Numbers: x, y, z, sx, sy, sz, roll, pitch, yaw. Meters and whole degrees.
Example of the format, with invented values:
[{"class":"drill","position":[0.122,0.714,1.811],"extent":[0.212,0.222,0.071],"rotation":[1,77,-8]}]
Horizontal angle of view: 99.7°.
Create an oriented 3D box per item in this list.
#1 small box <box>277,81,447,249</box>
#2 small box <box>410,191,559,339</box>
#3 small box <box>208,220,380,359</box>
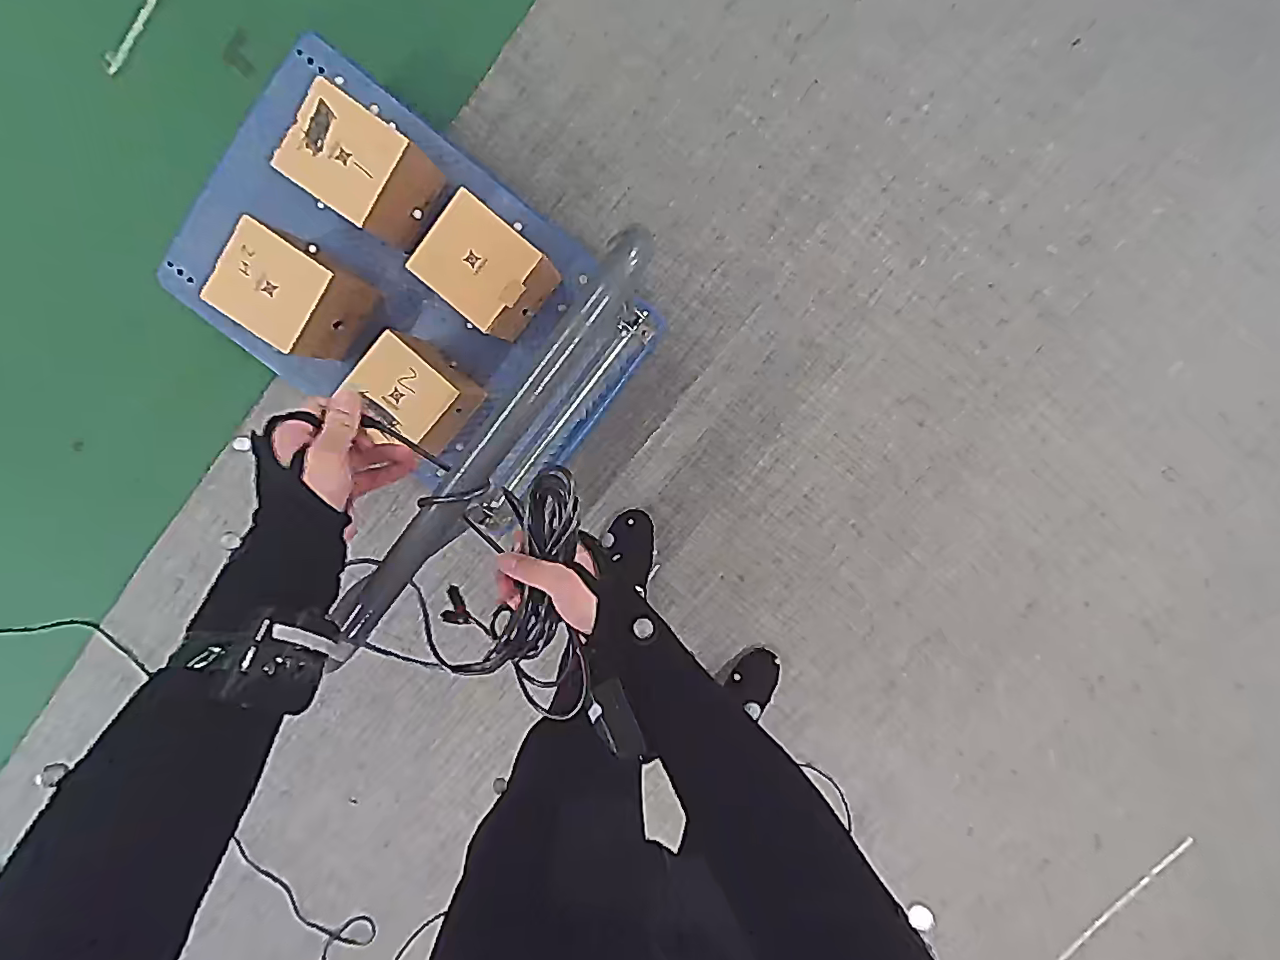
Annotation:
[{"class":"small box","position":[-0.483,-0.543,0.965],"extent":[0.179,0.176,0.168],"rotation":[34,99,-5]},{"class":"small box","position":[-0.271,-0.376,0.987],"extent":[0.179,0.176,0.168],"rotation":[39,98,-5]},{"class":"small box","position":[-0.625,-0.338,1.001],"extent":[0.179,0.176,0.168],"rotation":[35,97,-4]}]
